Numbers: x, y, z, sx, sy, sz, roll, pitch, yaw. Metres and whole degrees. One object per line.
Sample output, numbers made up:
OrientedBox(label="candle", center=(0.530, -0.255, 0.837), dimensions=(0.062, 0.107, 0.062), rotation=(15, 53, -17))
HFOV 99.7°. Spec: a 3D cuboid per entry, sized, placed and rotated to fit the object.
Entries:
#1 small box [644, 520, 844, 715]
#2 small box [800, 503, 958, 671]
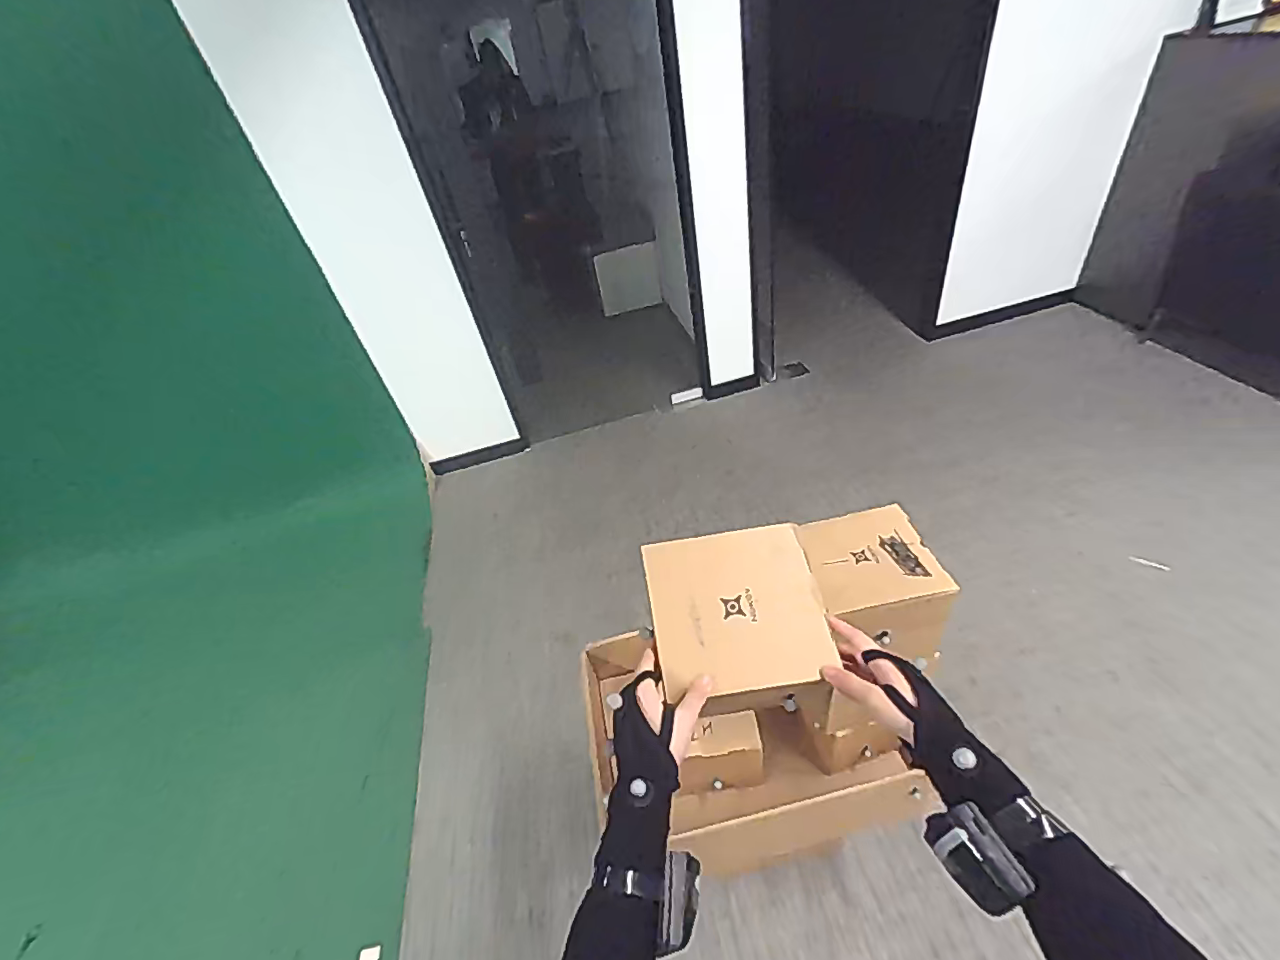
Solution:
OrientedBox(label="small box", center=(0.102, 0.163, 0.617), dimensions=(0.179, 0.176, 0.168), rotation=(-8, 60, -1))
OrientedBox(label="small box", center=(0.333, 0.164, 0.811), dimensions=(0.179, 0.176, 0.168), rotation=(-13, 41, 2))
